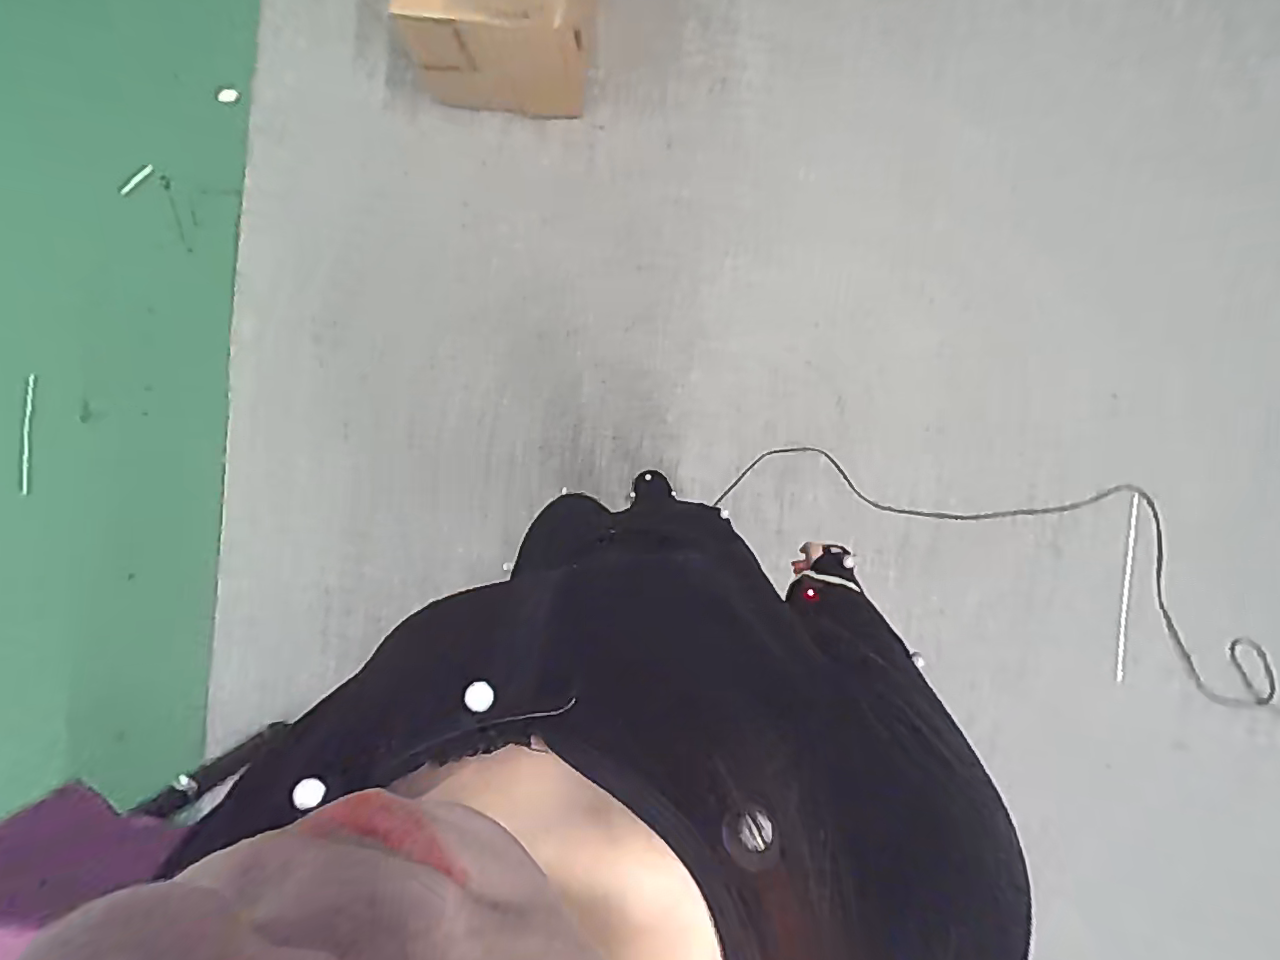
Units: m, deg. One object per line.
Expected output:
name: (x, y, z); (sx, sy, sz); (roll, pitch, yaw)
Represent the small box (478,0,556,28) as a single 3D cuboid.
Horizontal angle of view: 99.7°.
small box: (-0.262, -1.091, 1.110); (0.168, 0.176, 0.179); (11, 90, 4)
